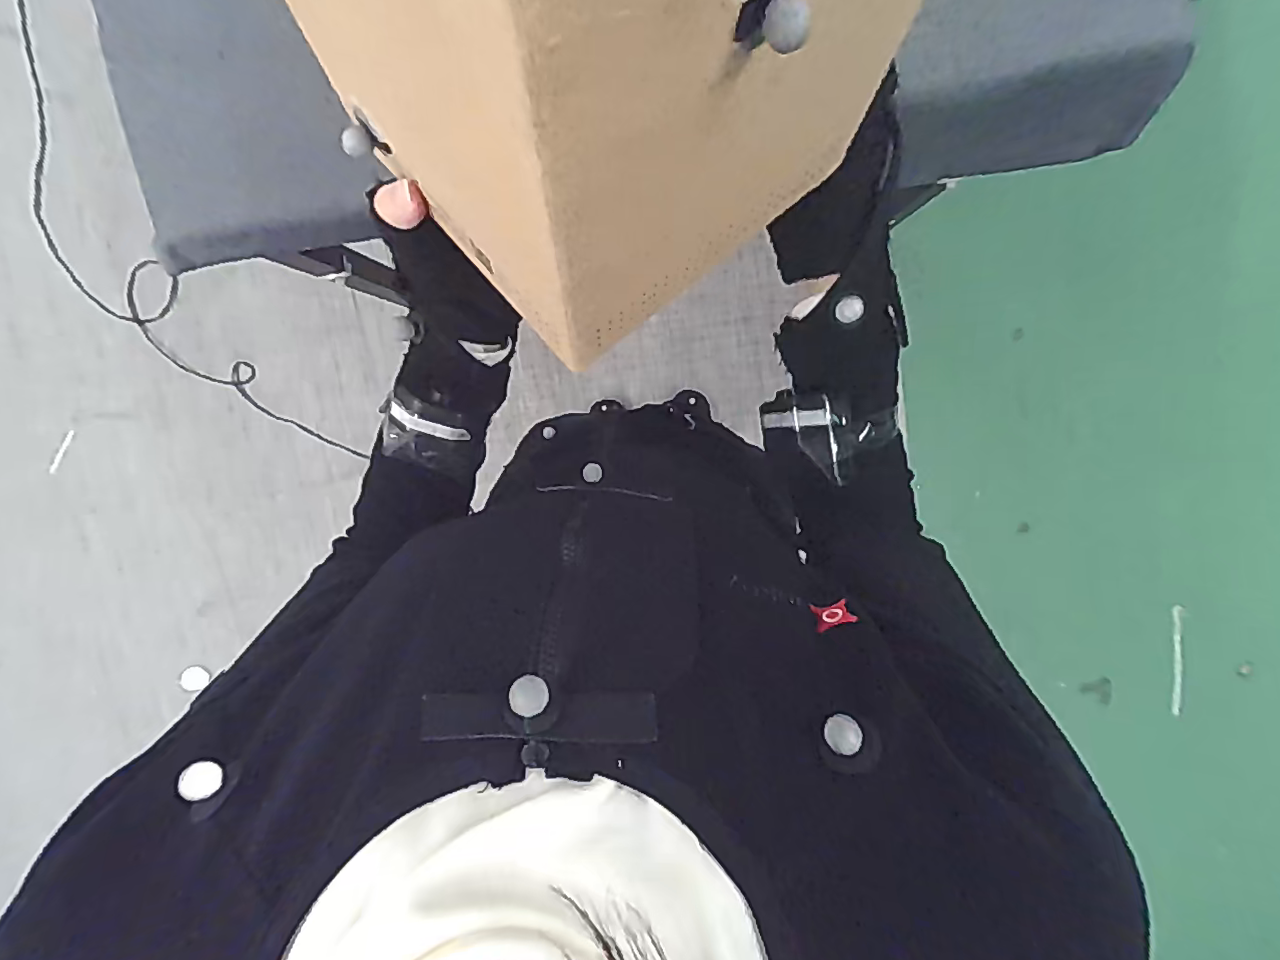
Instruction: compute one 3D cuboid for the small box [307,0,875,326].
[{"bbox_3d":[-0.018,-0.191,0.194,0.179,0.176,0.168,-41,83,-10],"label":"small box"}]
